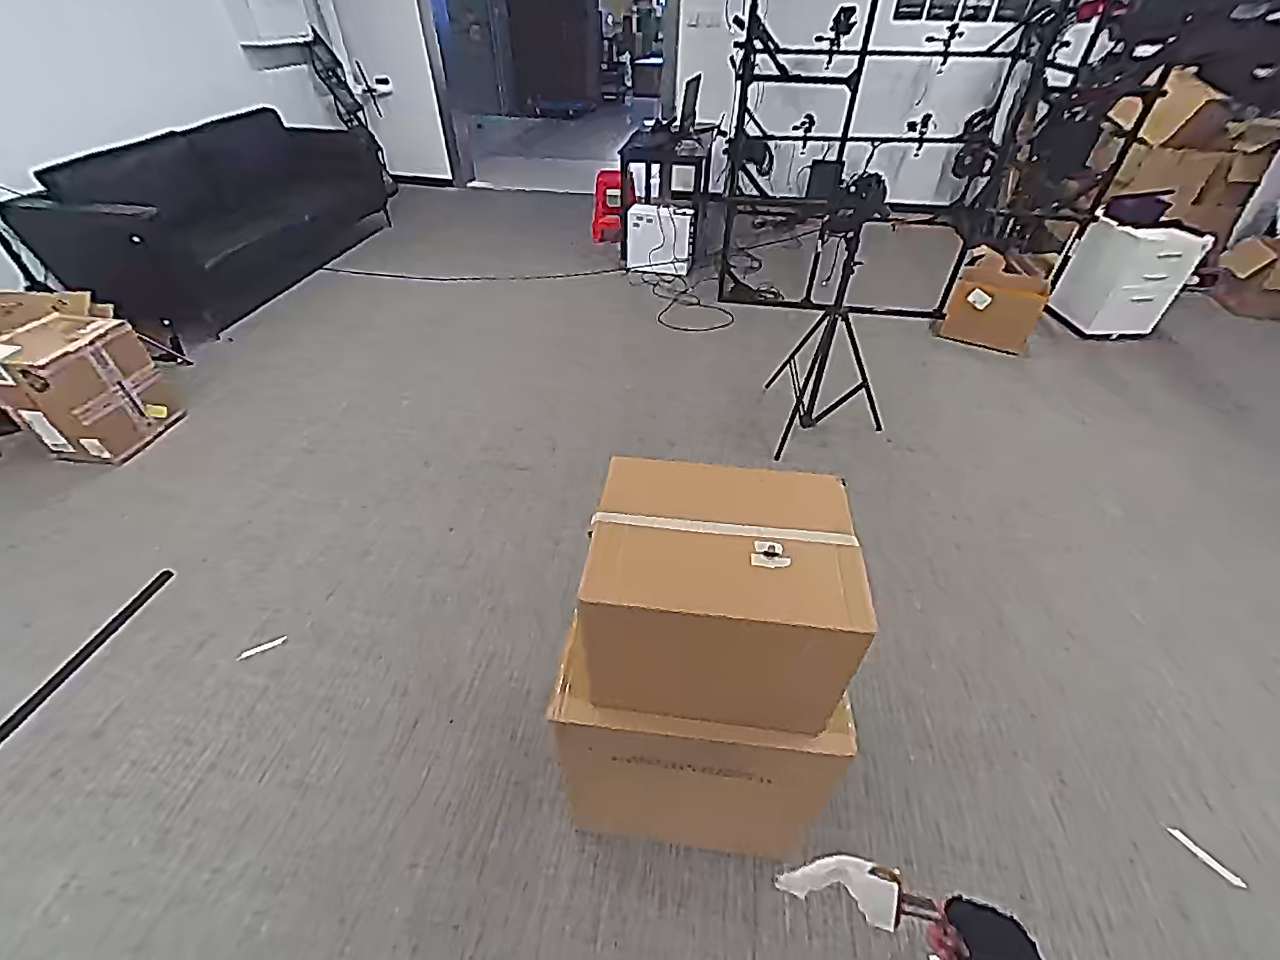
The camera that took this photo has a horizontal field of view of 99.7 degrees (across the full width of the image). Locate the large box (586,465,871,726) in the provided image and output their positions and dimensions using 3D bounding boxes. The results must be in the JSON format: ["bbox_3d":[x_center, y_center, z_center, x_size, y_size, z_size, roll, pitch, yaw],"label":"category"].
[{"bbox_3d":[0.130,0.199,0.954,0.408,0.320,0.320,5,42,4],"label":"large box"}]
